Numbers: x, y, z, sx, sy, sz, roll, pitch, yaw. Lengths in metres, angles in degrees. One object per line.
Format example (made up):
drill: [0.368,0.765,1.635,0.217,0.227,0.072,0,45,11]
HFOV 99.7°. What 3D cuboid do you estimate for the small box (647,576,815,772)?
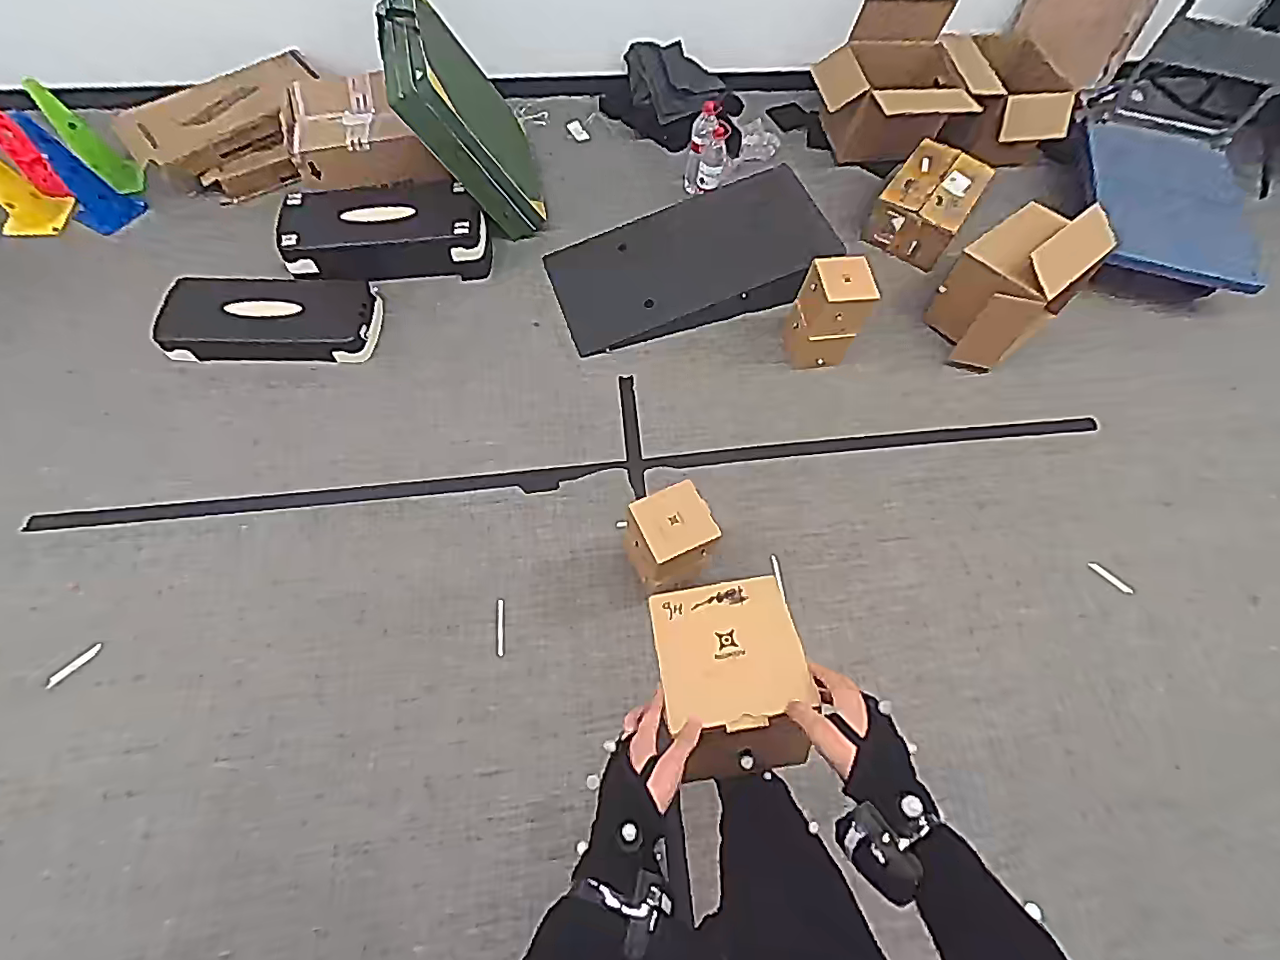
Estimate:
small box: [0.109,0.252,0.689,0.168,0.176,0.179,-10,45,0]
